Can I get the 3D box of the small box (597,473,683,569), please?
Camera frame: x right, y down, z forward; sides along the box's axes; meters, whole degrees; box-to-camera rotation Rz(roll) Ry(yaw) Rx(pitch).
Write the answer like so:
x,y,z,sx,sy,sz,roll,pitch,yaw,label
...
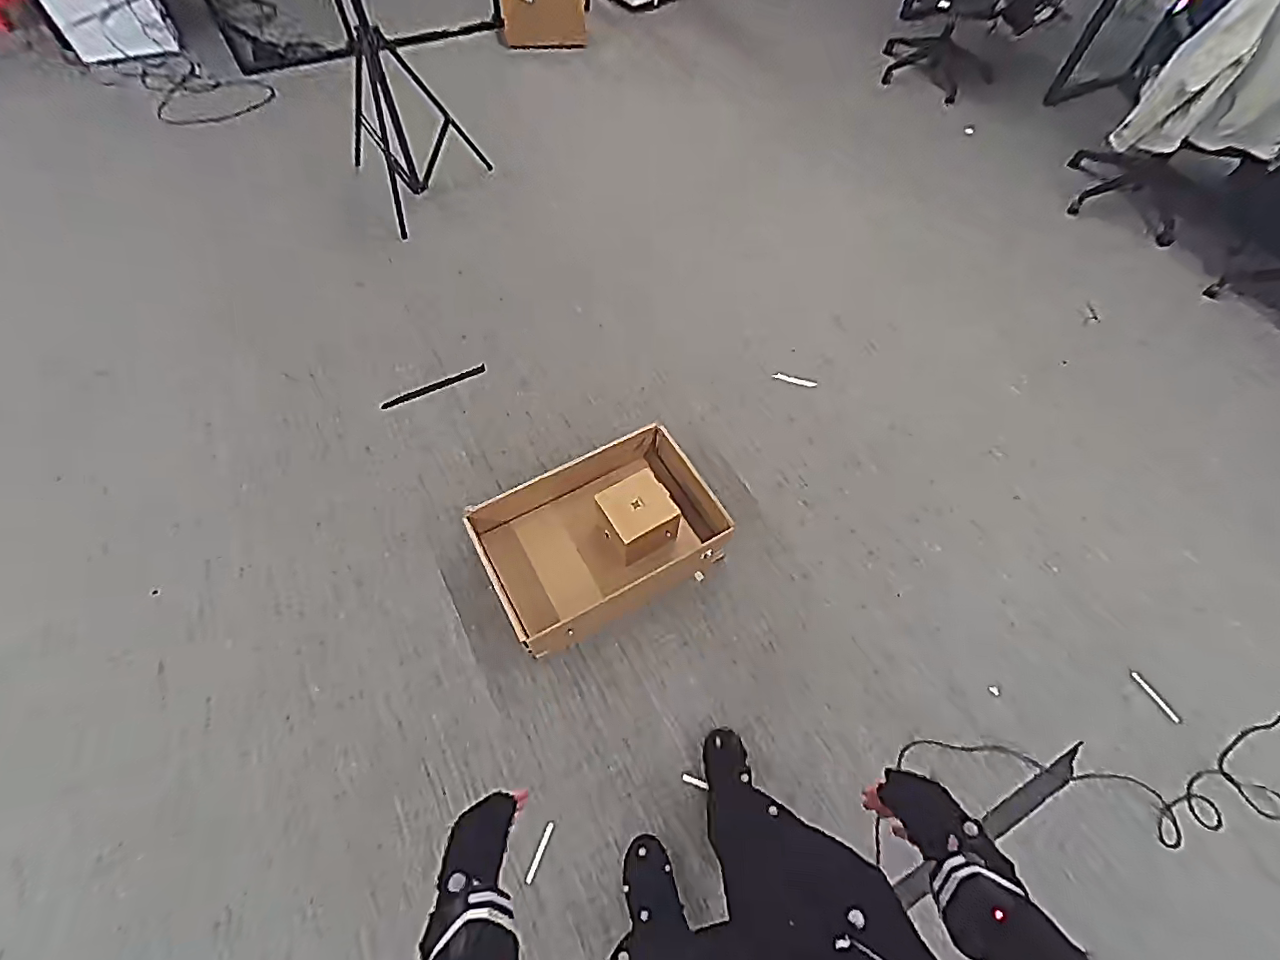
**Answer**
x,y,z,sx,sy,sz,roll,pitch,yaw,label
-0.002,0.117,1.491,0.179,0.176,0.168,-29,64,-16,small box
